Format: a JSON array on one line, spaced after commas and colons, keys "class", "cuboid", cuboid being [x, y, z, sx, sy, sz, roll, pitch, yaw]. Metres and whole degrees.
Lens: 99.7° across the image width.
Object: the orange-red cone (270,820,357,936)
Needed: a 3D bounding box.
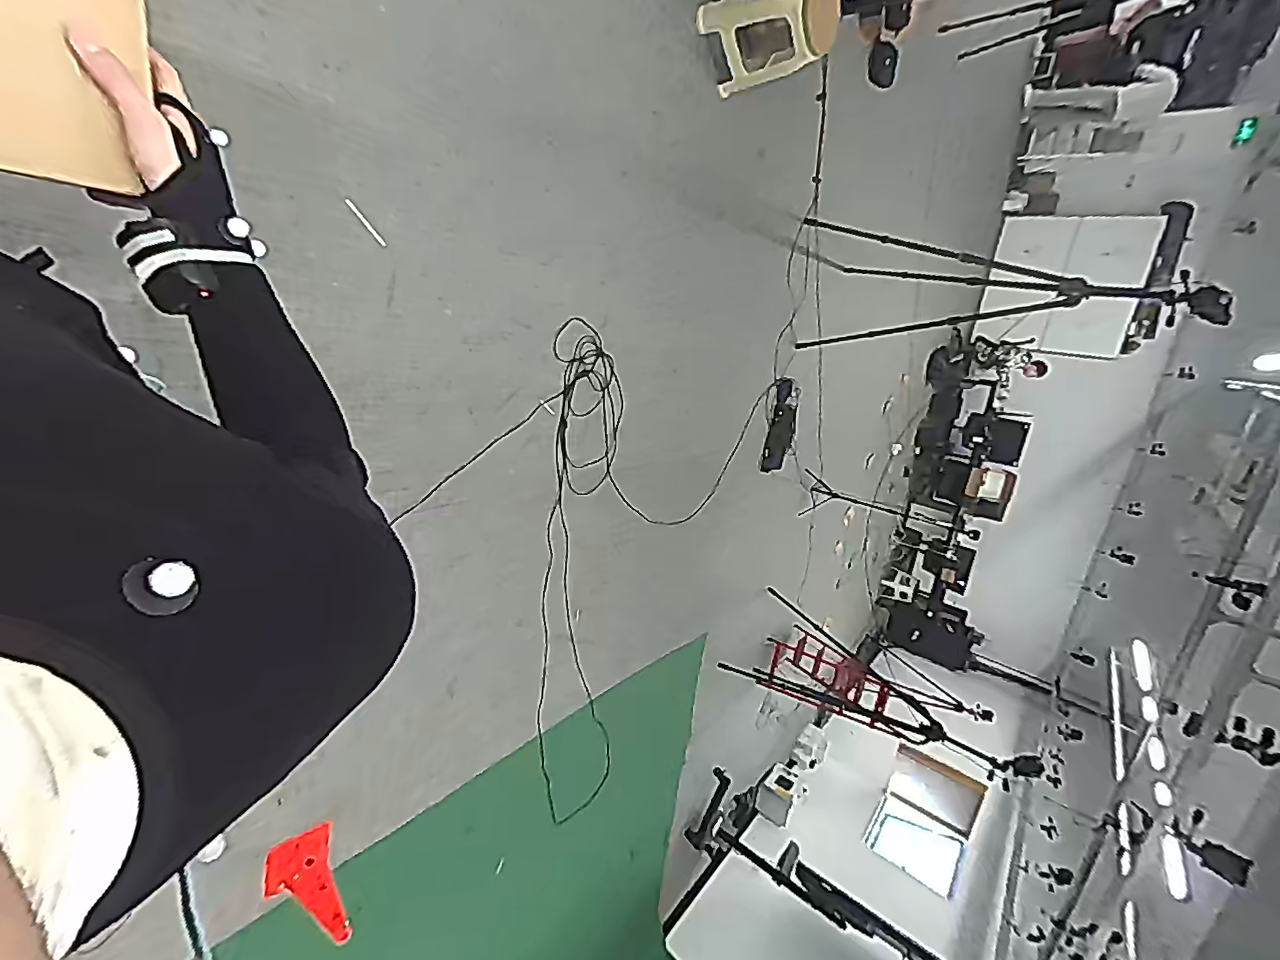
[{"class": "orange-red cone", "cuboid": [-1.025, 1.340, 1.769, 0.199, 0.360, 0.198, -3, 109, -54]}]
